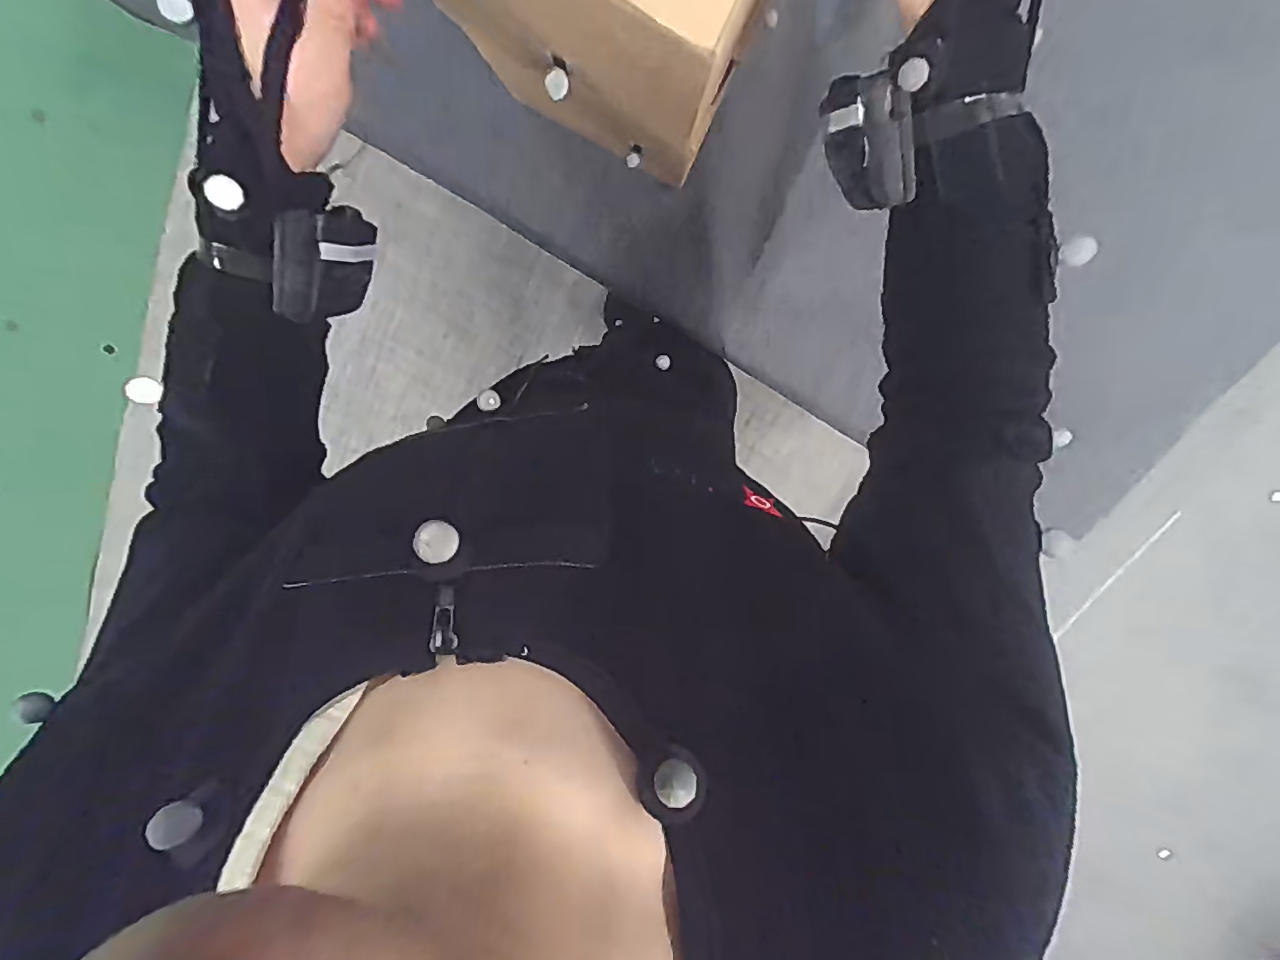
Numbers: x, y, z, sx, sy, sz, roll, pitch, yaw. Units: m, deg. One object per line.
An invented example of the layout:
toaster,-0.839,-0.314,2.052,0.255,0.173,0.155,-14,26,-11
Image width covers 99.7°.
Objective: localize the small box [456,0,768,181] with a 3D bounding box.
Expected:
small box,-0.005,-0.353,0.410,0.179,0.176,0.168,25,108,-8
